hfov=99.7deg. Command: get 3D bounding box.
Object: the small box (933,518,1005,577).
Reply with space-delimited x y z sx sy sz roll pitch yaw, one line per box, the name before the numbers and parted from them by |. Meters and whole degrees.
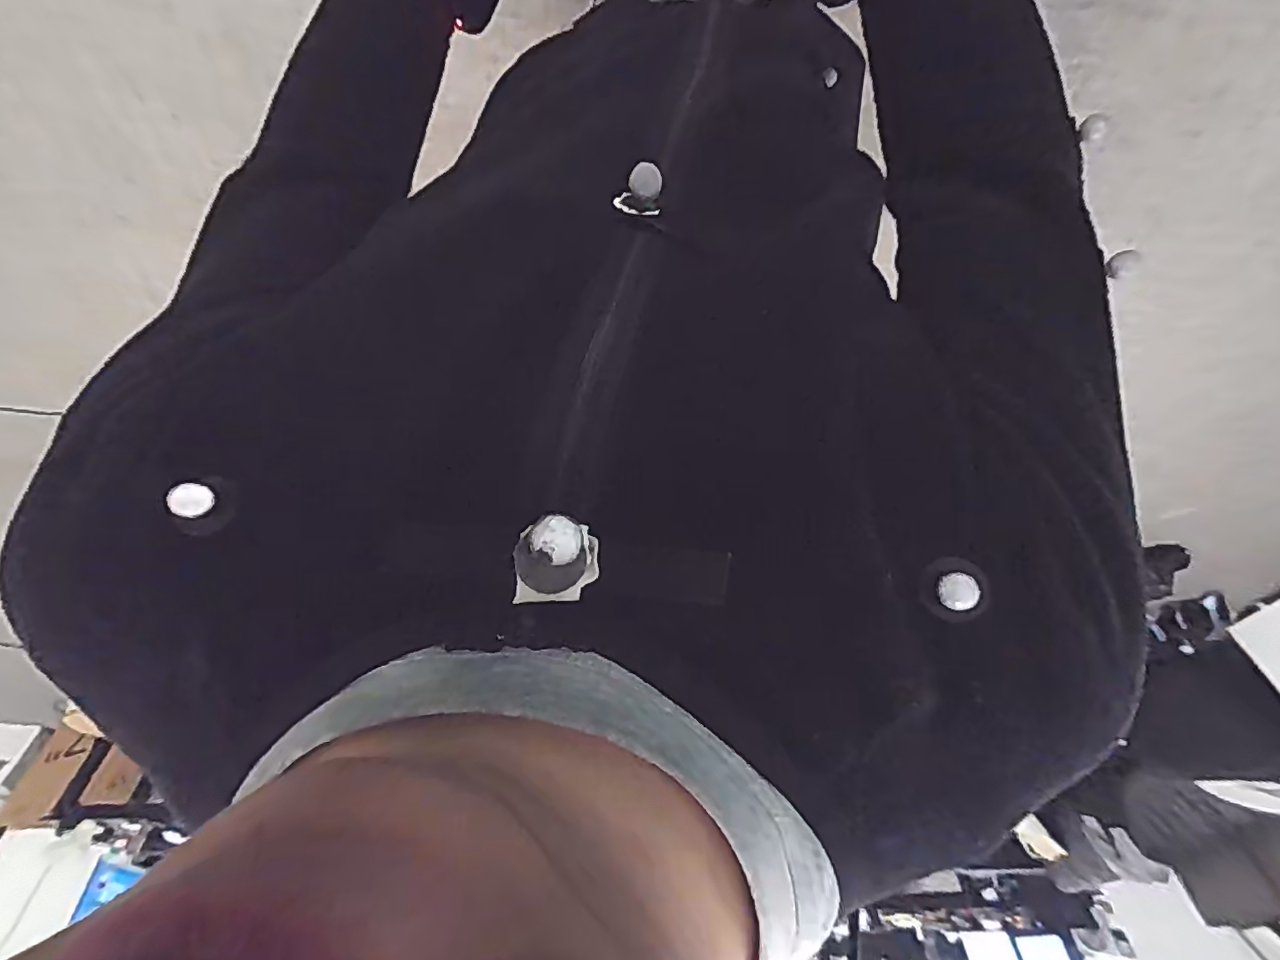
small box | 1.307 0.267 2.168 0.168 0.176 0.179 0 134 -1
